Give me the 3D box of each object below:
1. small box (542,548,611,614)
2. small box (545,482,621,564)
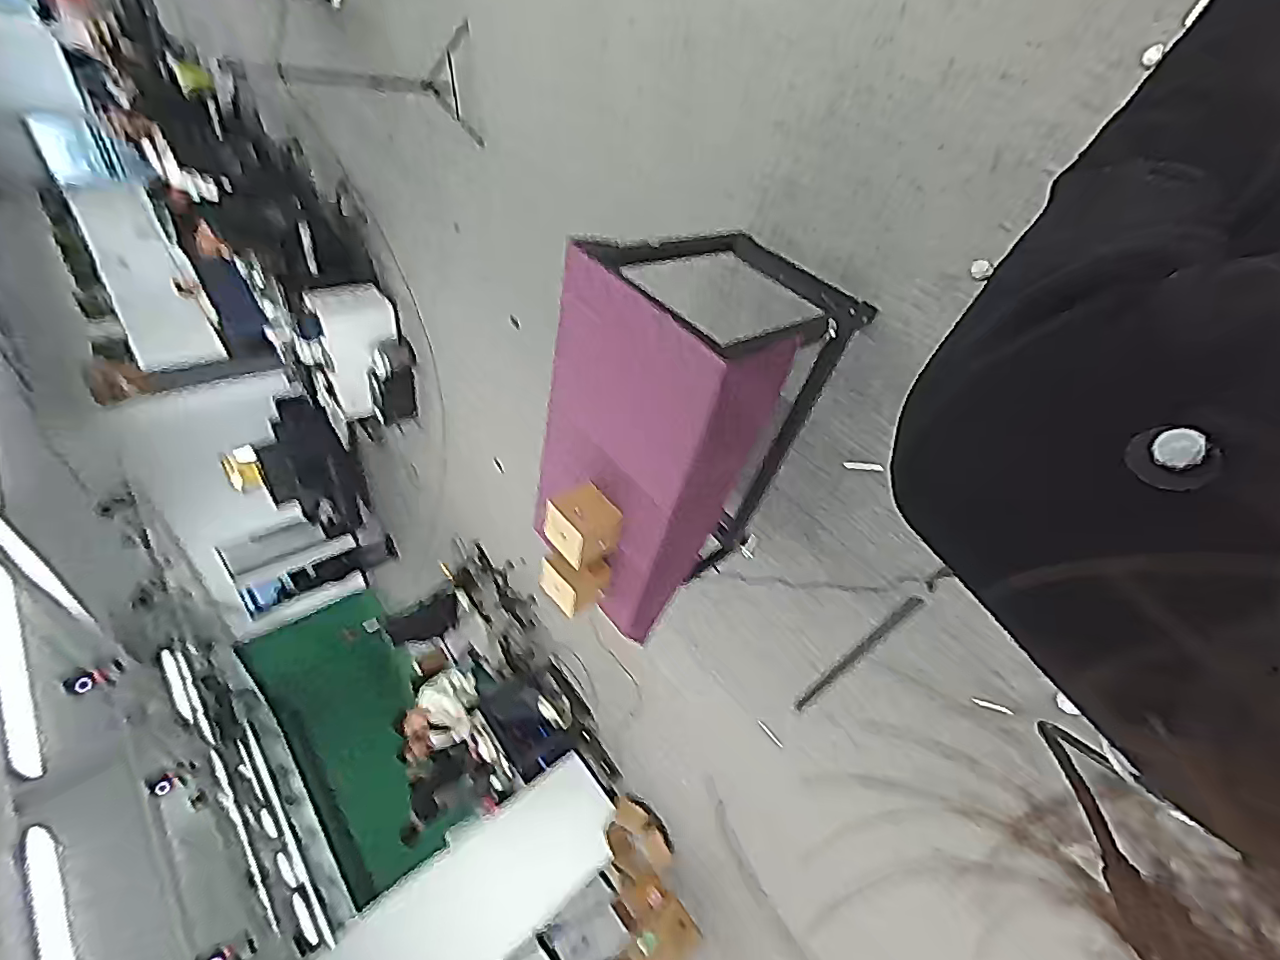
[{"bbox_3d":[-0.229,0.338,1.932,0.179,0.176,0.168,42,139,29],"label":"small box"},{"bbox_3d":[-0.184,0.134,1.753,0.179,0.176,0.168,44,139,27],"label":"small box"}]
